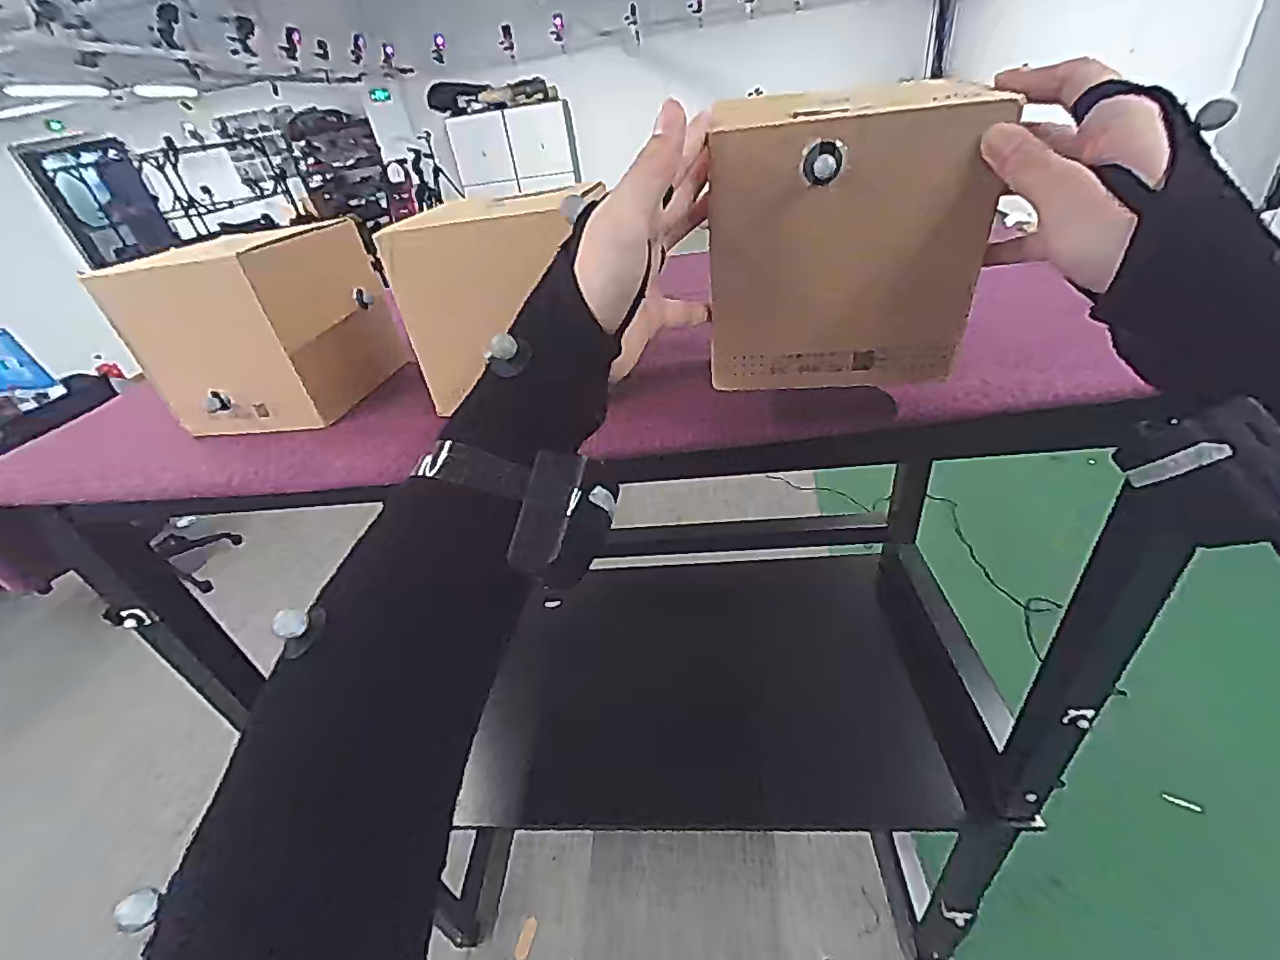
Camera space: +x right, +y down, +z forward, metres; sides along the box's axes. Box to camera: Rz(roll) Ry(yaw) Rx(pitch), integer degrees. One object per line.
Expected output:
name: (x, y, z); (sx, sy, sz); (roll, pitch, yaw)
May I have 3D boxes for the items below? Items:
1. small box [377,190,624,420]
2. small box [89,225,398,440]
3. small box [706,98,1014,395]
small box: (-0.114, -0.173, 0.532); (0.168, 0.176, 0.179); (-3, 35, 10)
small box: (-0.387, -0.157, 0.574); (0.168, 0.176, 0.179); (-3, 34, 11)
small box: (0.138, -0.177, 0.411); (0.168, 0.176, 0.179); (-1, 37, 10)
